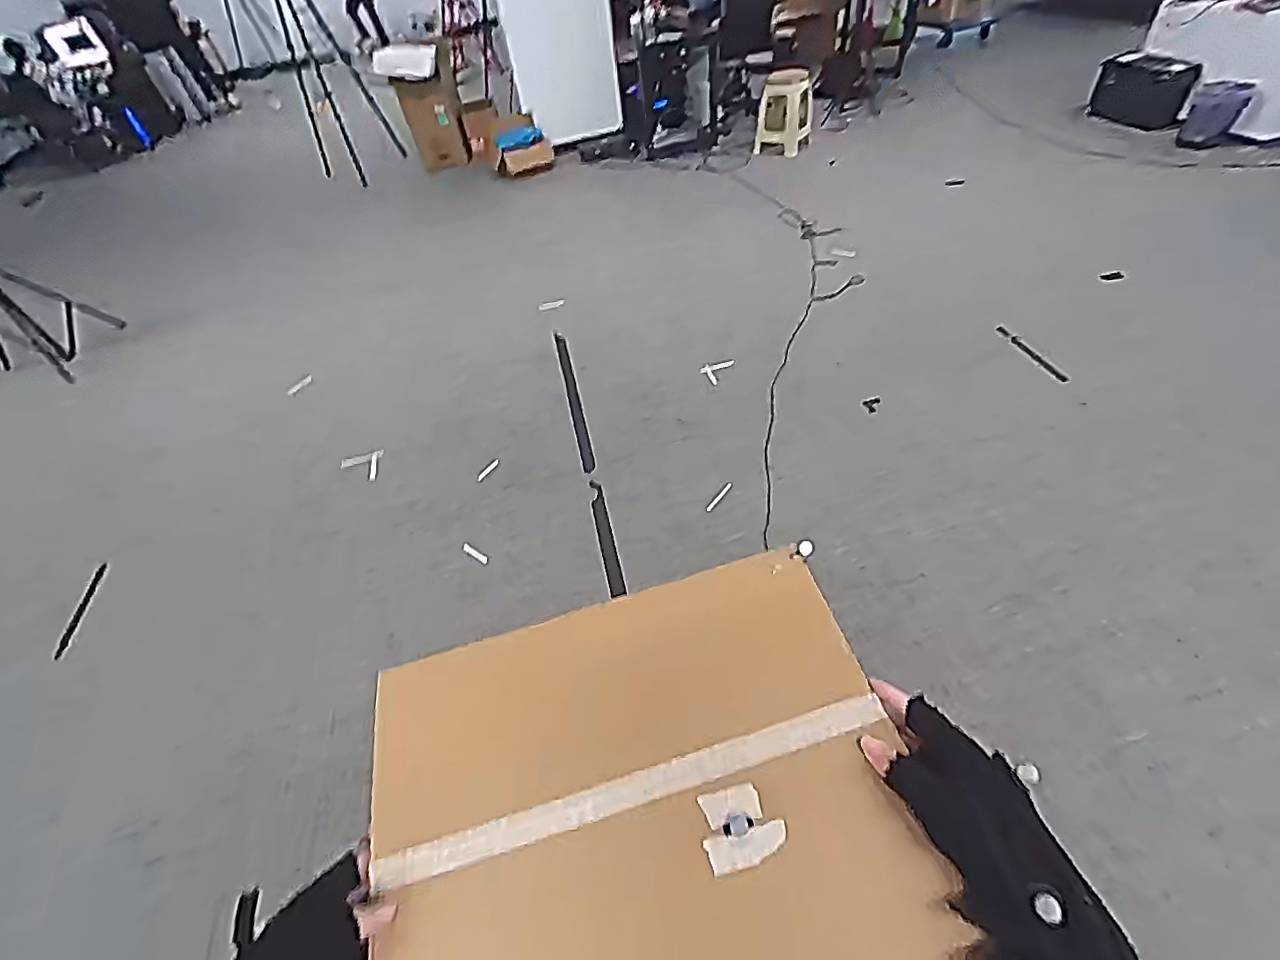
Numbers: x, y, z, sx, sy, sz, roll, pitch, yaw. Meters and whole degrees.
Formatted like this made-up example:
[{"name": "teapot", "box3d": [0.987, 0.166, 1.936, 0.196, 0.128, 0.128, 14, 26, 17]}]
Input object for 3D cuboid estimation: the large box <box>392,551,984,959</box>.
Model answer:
[{"name": "large box", "box3d": [0.017, 0.331, 0.546, 0.408, 0.320, 0.320, -17, 53, -4]}]
